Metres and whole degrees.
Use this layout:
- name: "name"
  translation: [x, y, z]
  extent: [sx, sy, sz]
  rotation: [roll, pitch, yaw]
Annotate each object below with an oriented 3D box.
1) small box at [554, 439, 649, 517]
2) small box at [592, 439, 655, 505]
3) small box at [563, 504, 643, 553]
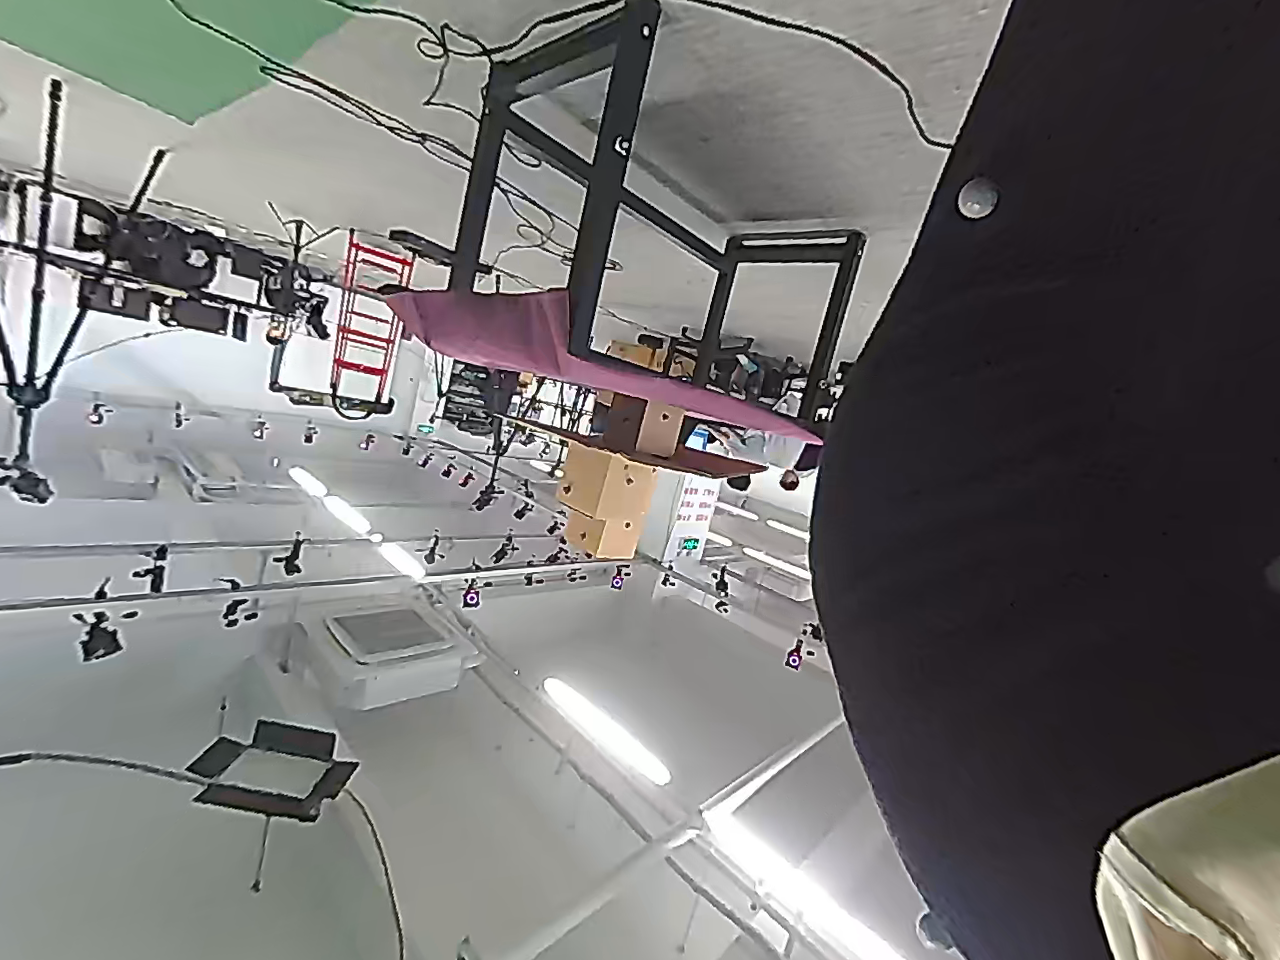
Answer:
- name: "small box"
  translation: [-0.100, -0.009, 1.458]
  extent: [0.179, 0.176, 0.168]
  rotation: [20, -172, 42]
- name: "small box"
  translation: [-0.069, -0.027, 1.720]
  extent: [0.179, 0.176, 0.168]
  rotation: [21, -172, 43]
- name: "small box"
  translation: [-0.116, 0.126, 1.743]
  extent: [0.168, 0.176, 0.179]
  rotation: [11, -174, -46]
